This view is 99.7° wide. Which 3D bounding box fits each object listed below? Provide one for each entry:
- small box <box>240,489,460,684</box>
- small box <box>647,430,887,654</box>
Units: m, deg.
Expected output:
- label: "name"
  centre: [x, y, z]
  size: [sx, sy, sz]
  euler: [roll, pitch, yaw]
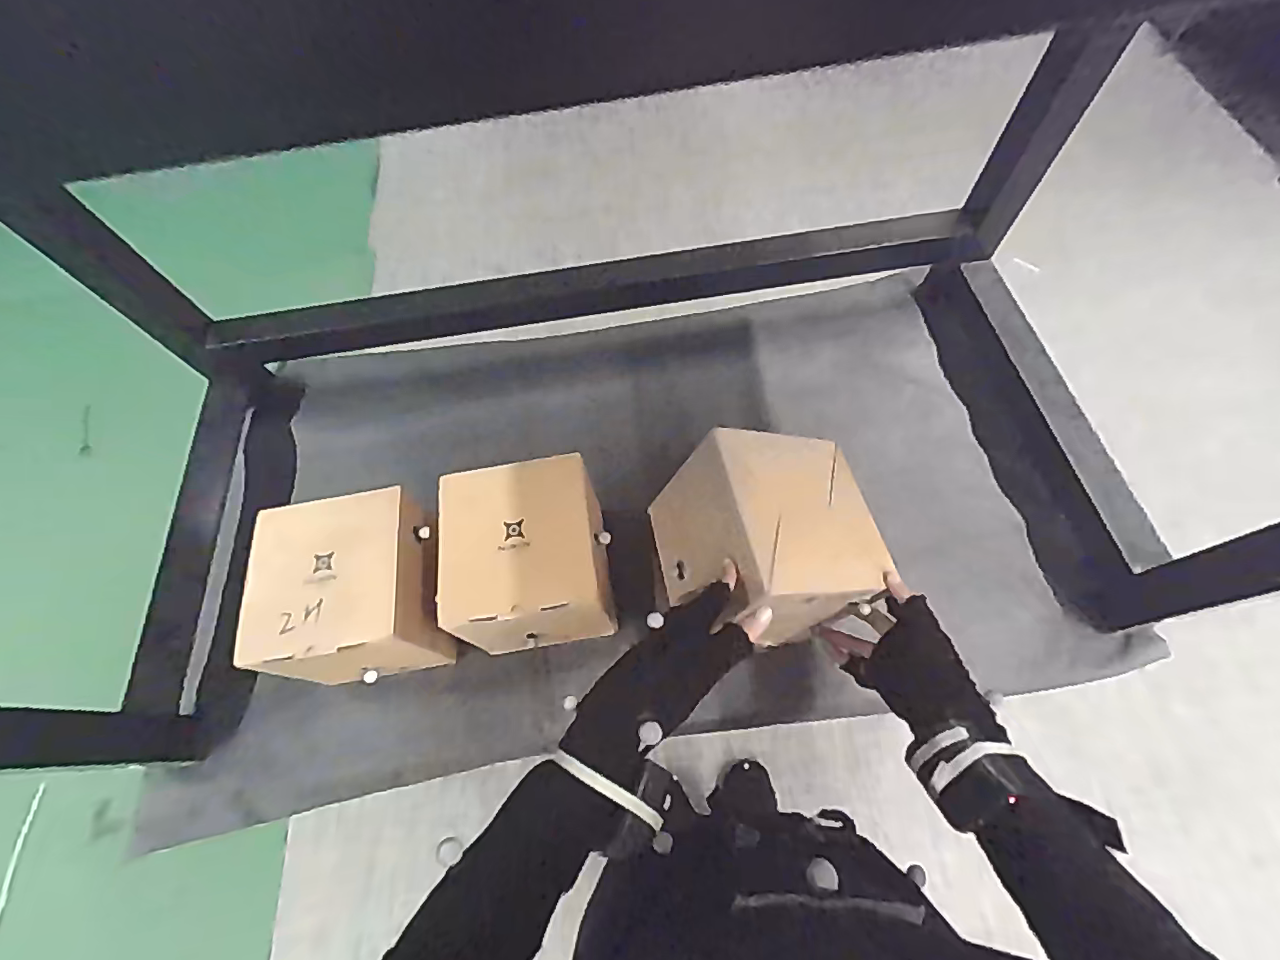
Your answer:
- label: "small box"
  centre: [-0.328, 0.134, 0.652]
  size: [0.168, 0.176, 0.179]
  euler: [-10, 63, 0]
- label: "small box"
  centre: [0.129, 0.070, 0.581]
  size: [0.168, 0.176, 0.179]
  euler: [5, 56, -28]
